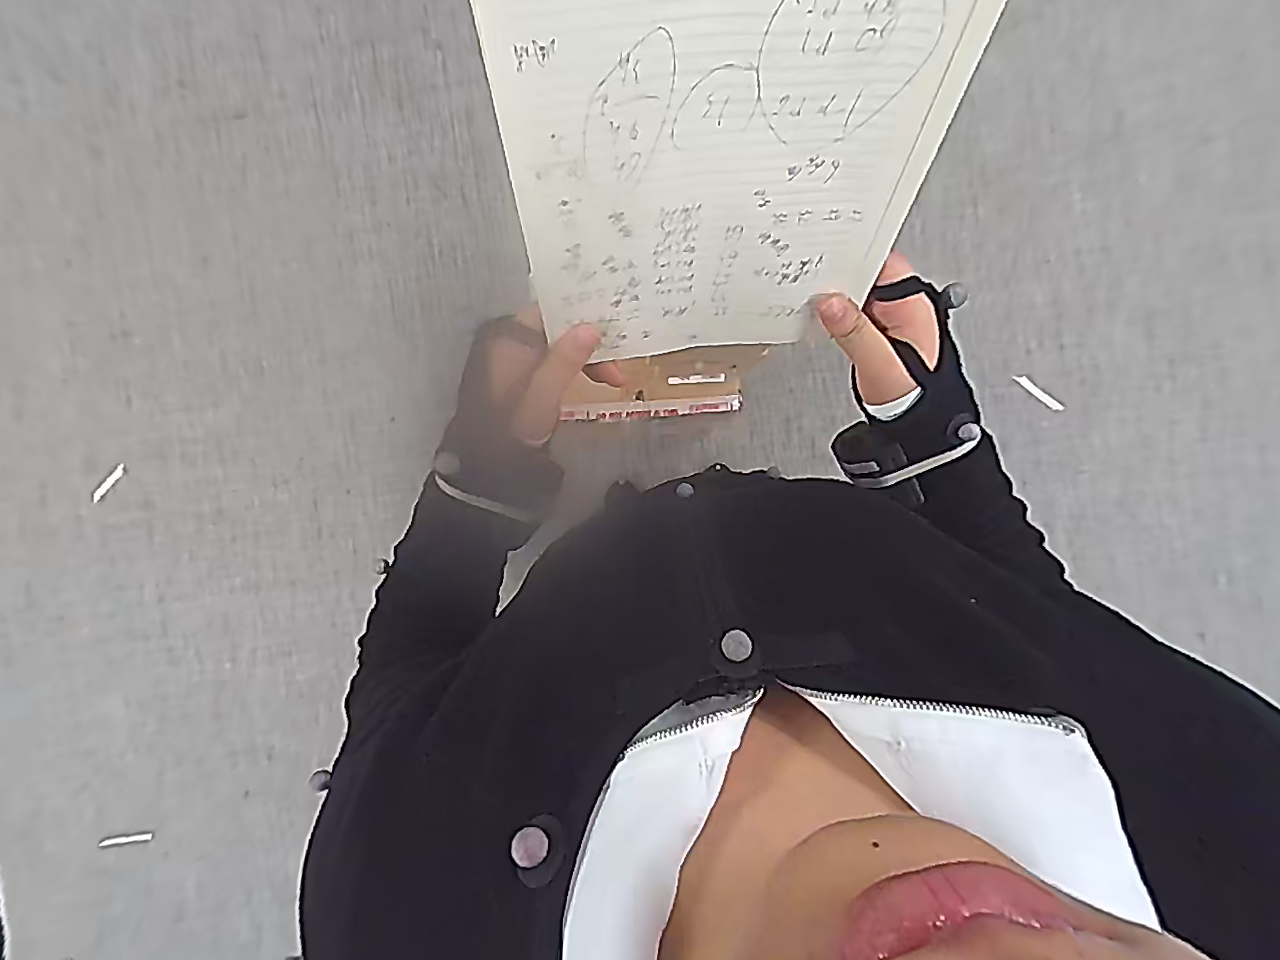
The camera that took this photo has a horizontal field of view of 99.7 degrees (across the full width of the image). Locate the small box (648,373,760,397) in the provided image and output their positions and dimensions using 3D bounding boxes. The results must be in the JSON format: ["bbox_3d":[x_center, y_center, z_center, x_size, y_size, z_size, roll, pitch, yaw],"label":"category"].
[{"bbox_3d":[0.100,-0.243,0.951,0.179,0.176,0.168,-5,91,-1],"label":"small box"}]

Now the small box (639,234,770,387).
[{"bbox_3d":[0.085,-0.235,0.786,0.168,0.176,0.179,-1,92,-2],"label":"small box"}]
